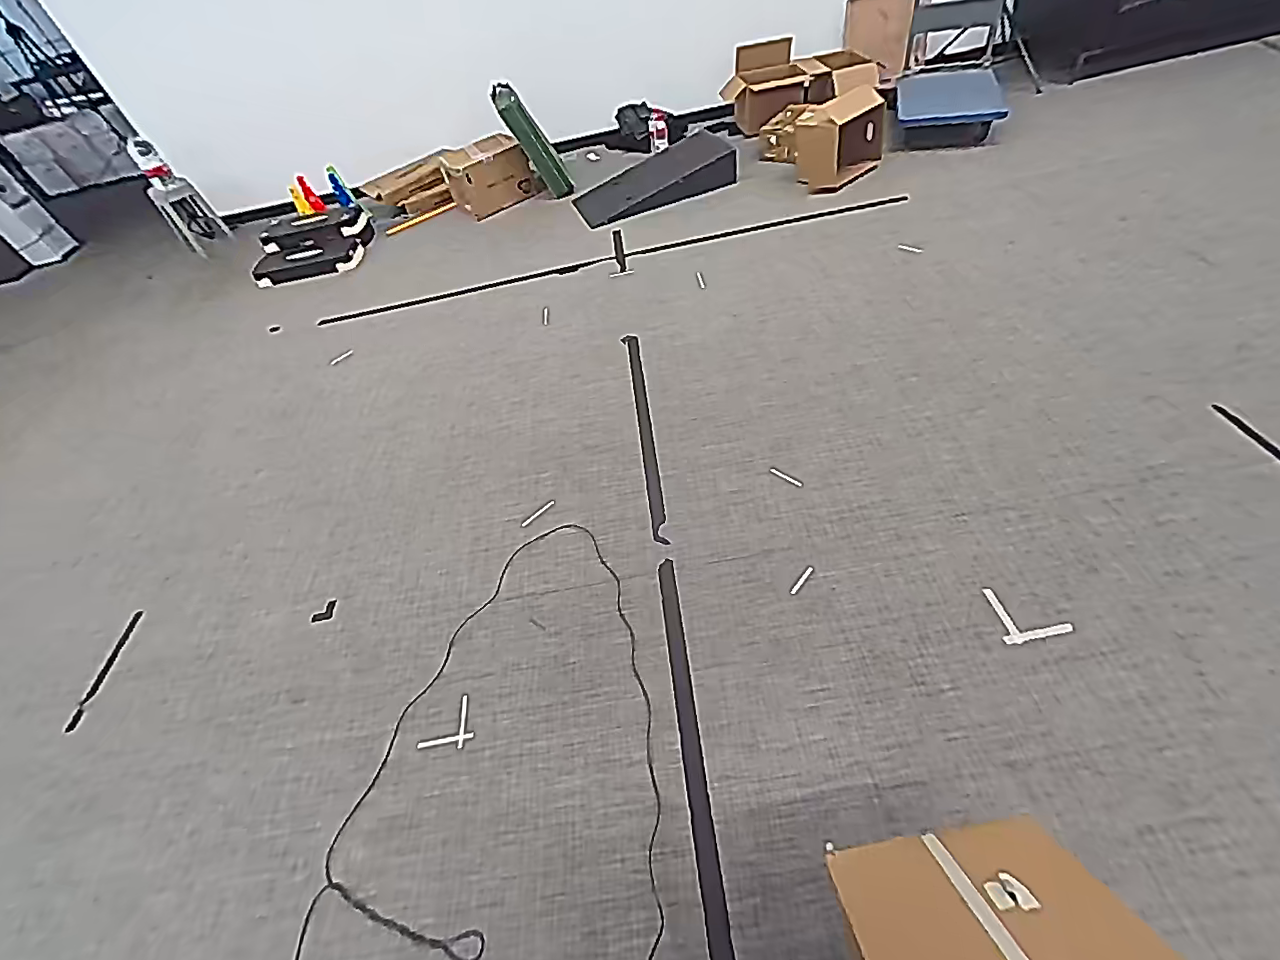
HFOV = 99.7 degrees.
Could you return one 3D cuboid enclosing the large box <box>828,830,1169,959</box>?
[{"bbox_3d":[0.456,0.697,0.617,0.320,0.408,0.320,-11,87,3],"label":"large box"}]
